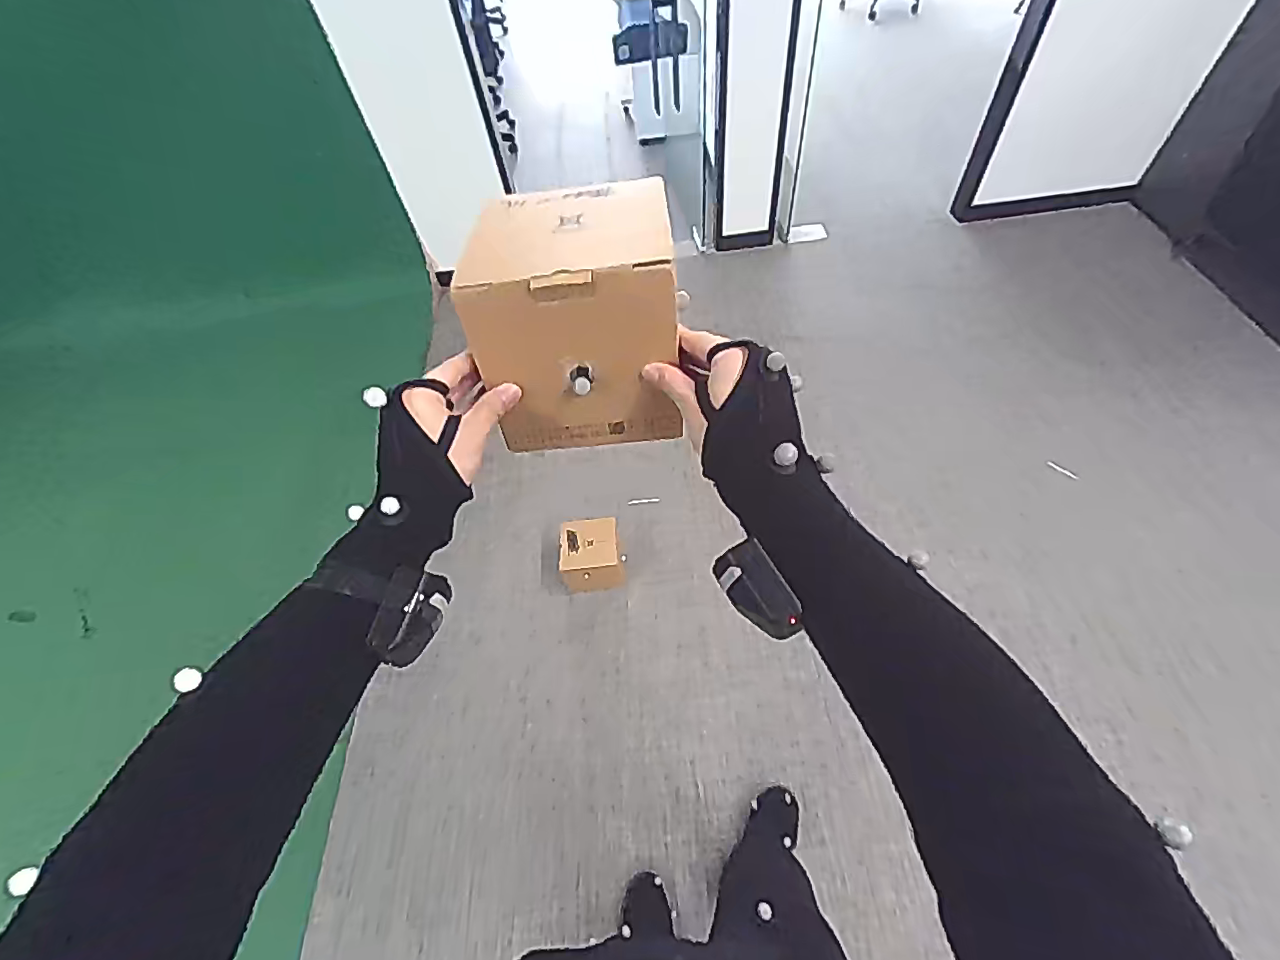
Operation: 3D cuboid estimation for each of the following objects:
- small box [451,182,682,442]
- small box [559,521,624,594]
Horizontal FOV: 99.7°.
[{"bbox_3d":[-0.051,-0.148,0.503,0.168,0.176,0.179,-5,47,3],"label":"small box"},{"bbox_3d":[-0.150,0.248,1.695,0.179,0.176,0.168,-6,55,1],"label":"small box"}]
